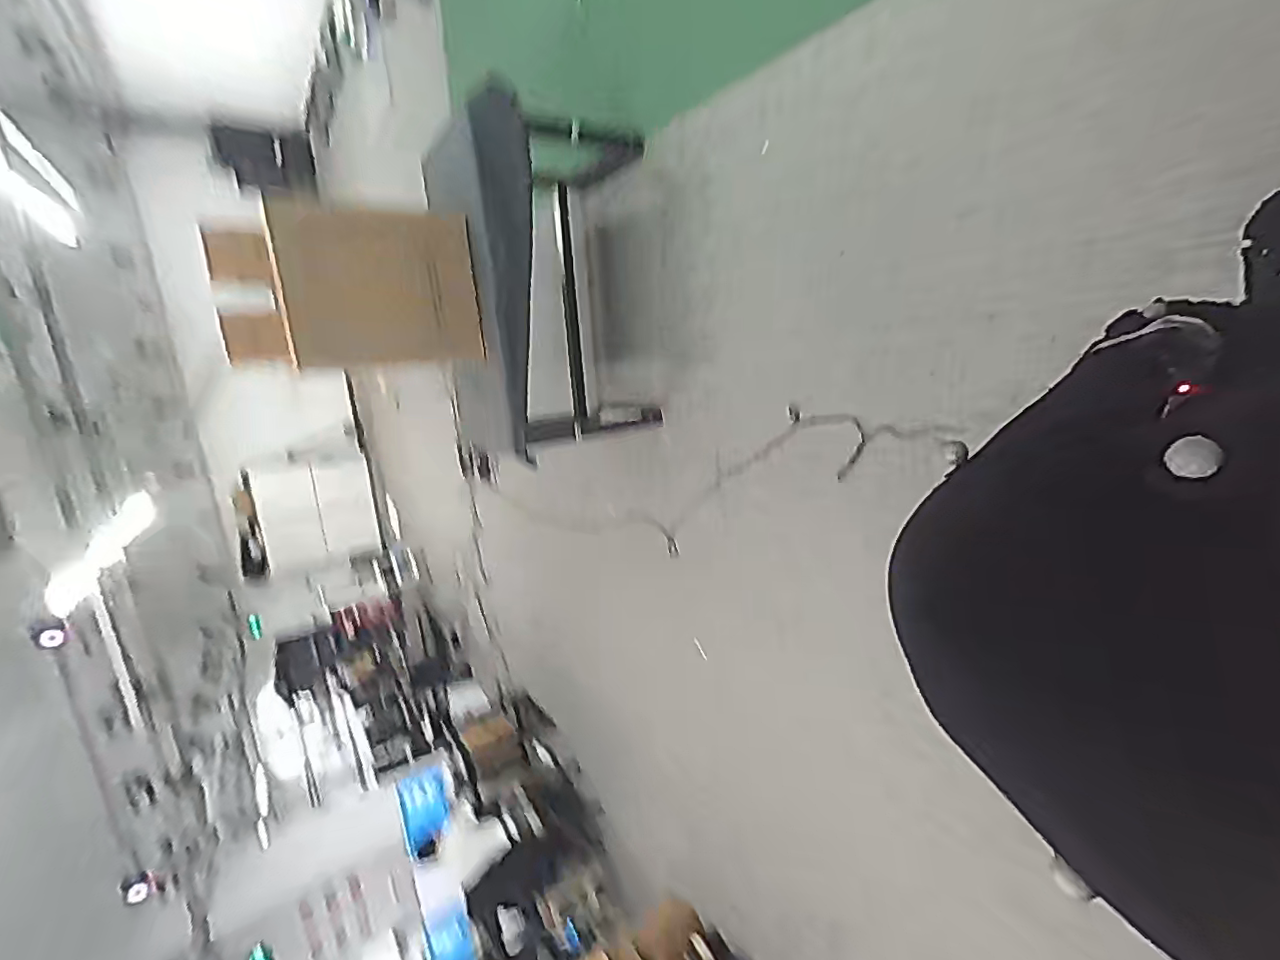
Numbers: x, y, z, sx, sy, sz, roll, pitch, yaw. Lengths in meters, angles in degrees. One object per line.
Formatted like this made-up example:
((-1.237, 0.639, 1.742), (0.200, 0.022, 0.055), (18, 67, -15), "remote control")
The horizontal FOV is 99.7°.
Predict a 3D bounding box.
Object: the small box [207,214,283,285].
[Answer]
((-1.265, -0.734, 1.738), (0.179, 0.176, 0.168), (1, 101, 54), "small box")

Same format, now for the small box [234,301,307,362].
((-1.227, -0.494, 1.796), (0.168, 0.176, 0.179), (8, 109, 54), "small box")
